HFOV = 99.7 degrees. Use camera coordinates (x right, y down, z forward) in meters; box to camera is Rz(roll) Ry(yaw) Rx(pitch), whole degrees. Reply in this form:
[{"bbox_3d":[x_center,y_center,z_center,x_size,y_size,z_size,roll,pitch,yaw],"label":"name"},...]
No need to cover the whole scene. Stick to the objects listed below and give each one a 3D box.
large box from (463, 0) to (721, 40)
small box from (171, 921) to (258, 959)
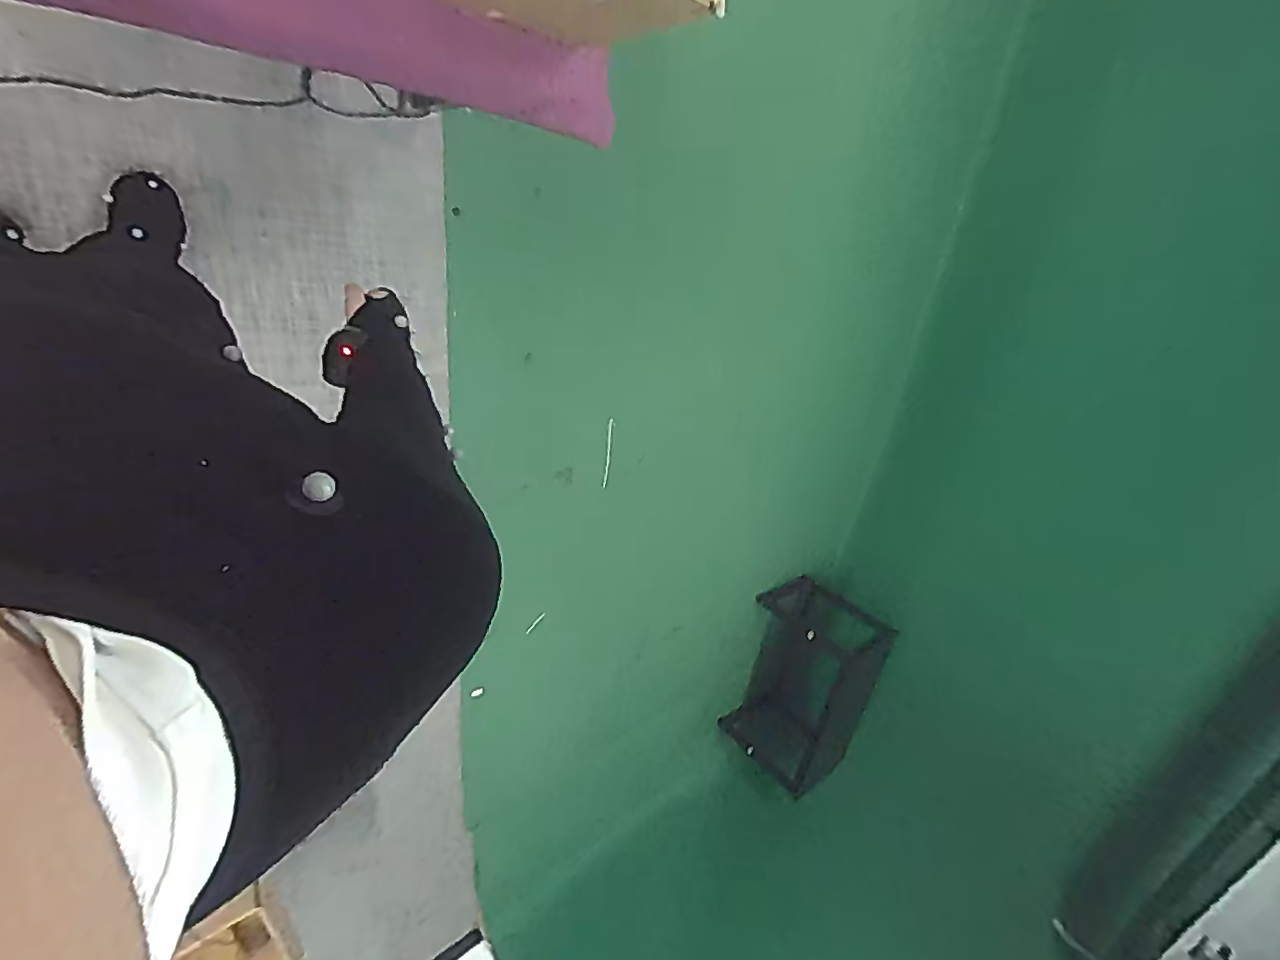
[{"bbox_3d":[-0.093,-0.770,0.569,0.320,0.320,0.408,-14,124,-37],"label":"large box"},{"bbox_3d":[-1.130,1.344,1.445,0.168,0.176,0.179,-18,127,-37],"label":"small box"}]
